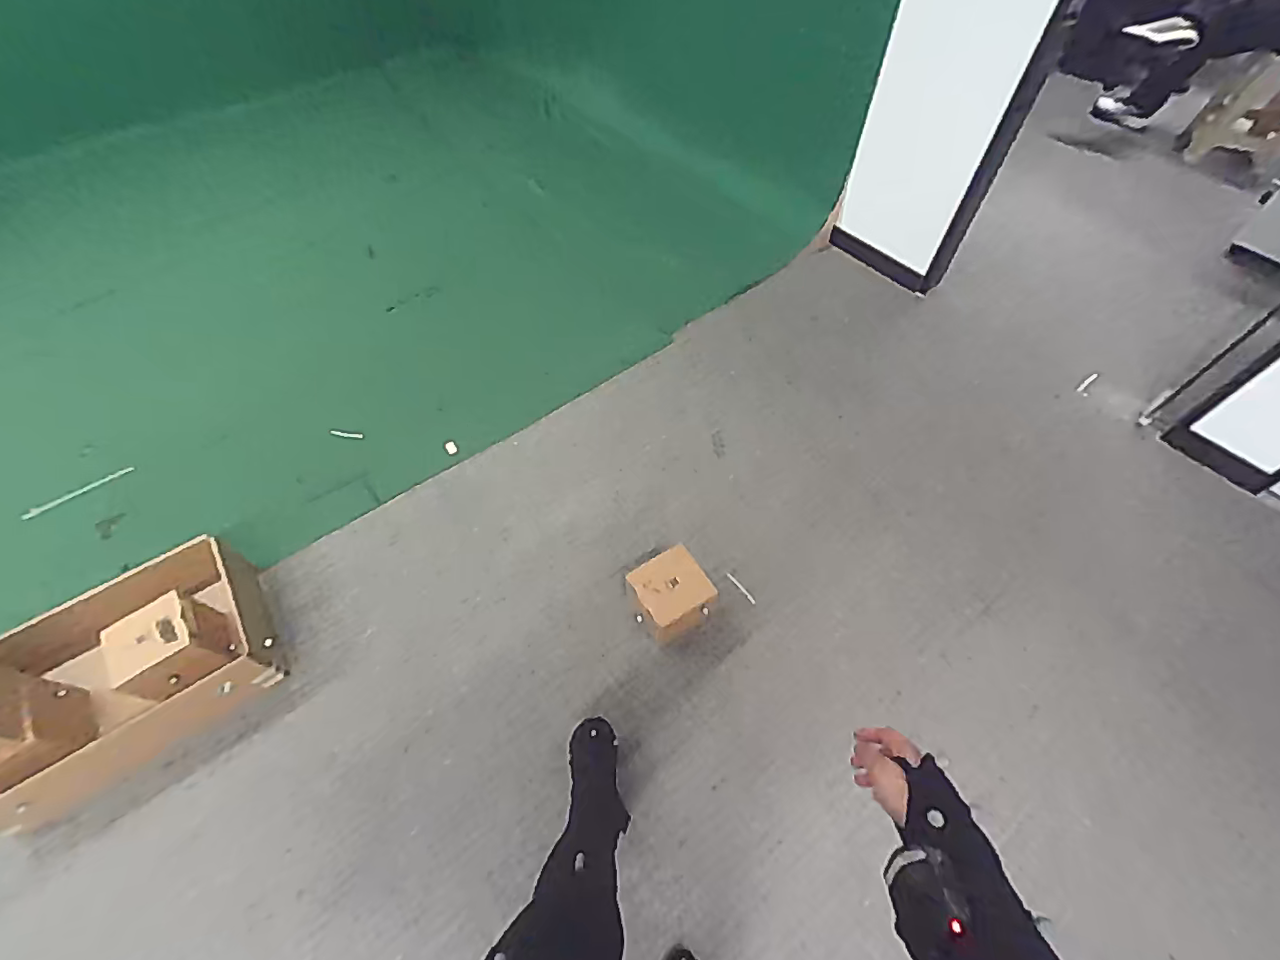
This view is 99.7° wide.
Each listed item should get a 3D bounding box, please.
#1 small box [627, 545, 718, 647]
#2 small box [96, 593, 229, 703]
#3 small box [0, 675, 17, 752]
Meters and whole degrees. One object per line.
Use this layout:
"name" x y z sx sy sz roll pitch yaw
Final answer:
"small box" 0.079 0.307 1.411 0.179 0.176 0.168 -28 60 -16
"small box" -1.136 0.408 1.303 0.179 0.176 0.168 -32 63 -17
"small box" -1.399 0.483 1.064 0.168 0.176 0.179 -30 63 -17
